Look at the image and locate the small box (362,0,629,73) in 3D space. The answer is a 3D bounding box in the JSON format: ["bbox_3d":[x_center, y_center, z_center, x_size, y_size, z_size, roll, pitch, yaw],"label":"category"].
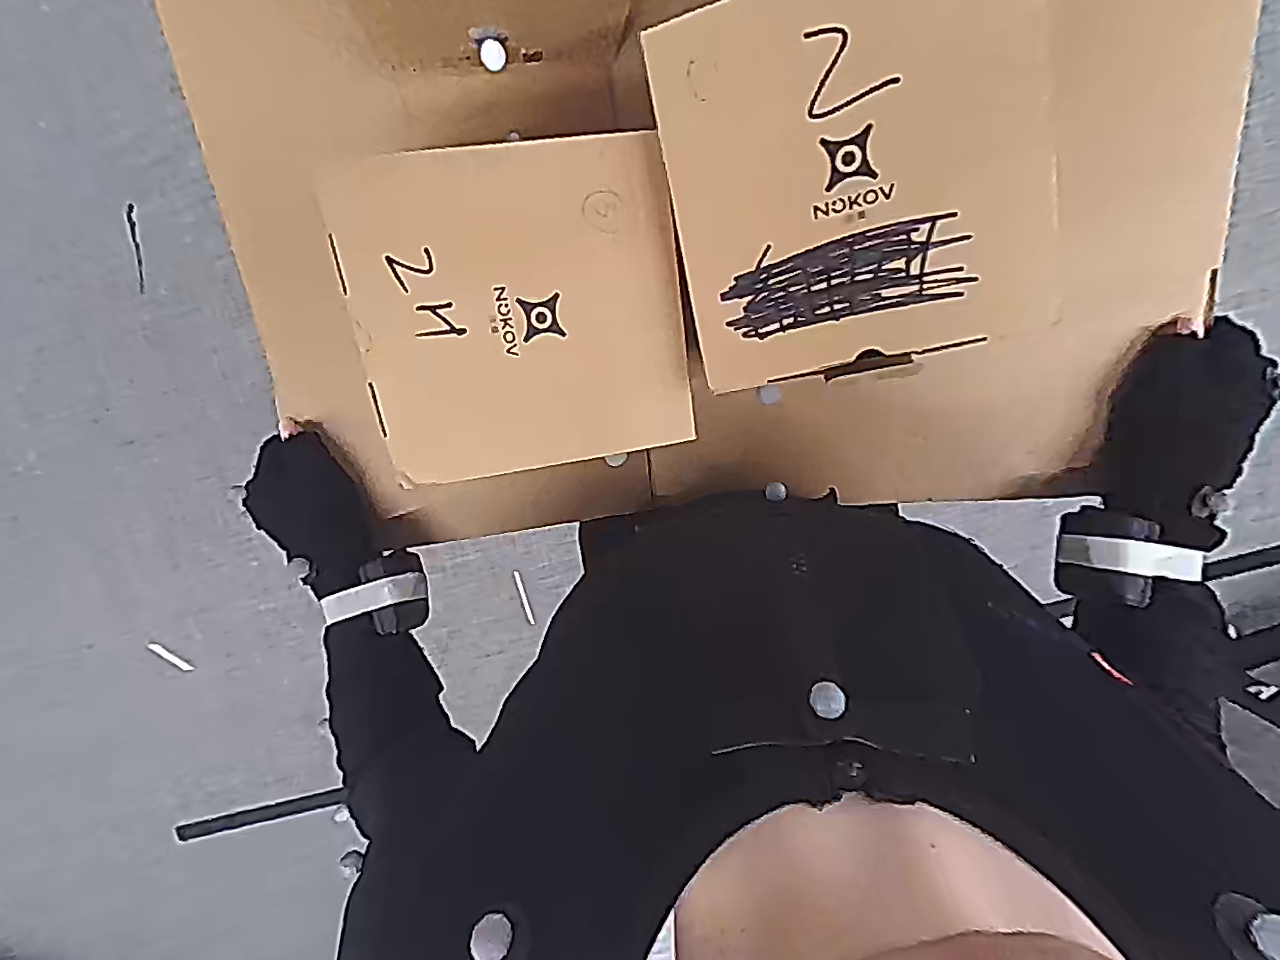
[{"bbox_3d":[-0.094,-0.364,0.297,0.168,0.176,0.179,-10,107,-8],"label":"small box"}]
